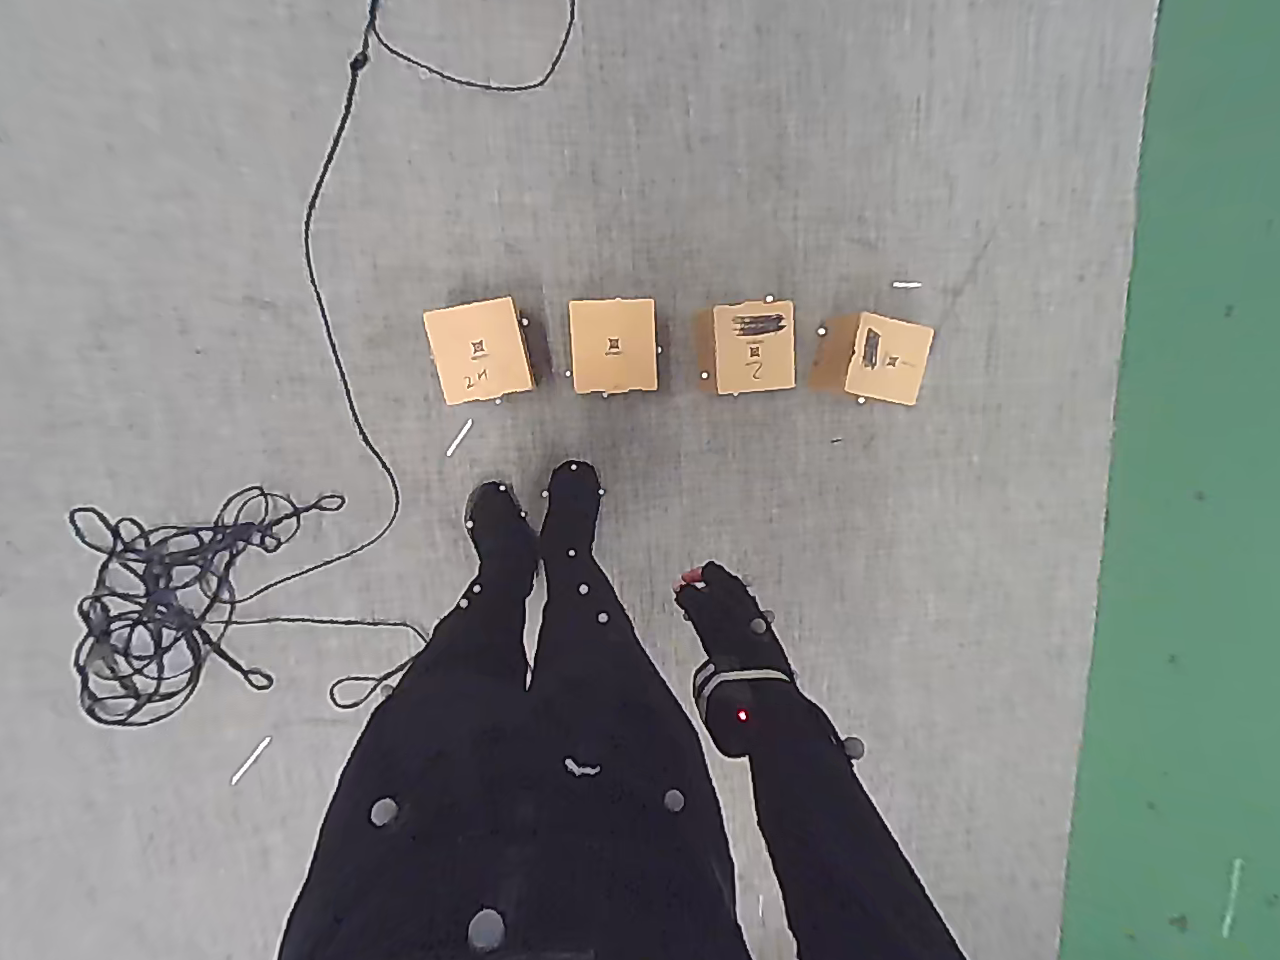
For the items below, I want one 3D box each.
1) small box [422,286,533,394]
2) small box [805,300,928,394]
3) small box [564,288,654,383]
[{"bbox_3d":[-0.316,-0.274,1.084,0.168,0.176,0.179,-13,103,-5],"label":"small box"},{"bbox_3d":[0.496,-0.291,1.210,0.179,0.176,0.168,9,100,-12],"label":"small box"},{"bbox_3d":[-0.068,-0.294,1.122,0.168,0.176,0.179,-5,102,-8],"label":"small box"}]
